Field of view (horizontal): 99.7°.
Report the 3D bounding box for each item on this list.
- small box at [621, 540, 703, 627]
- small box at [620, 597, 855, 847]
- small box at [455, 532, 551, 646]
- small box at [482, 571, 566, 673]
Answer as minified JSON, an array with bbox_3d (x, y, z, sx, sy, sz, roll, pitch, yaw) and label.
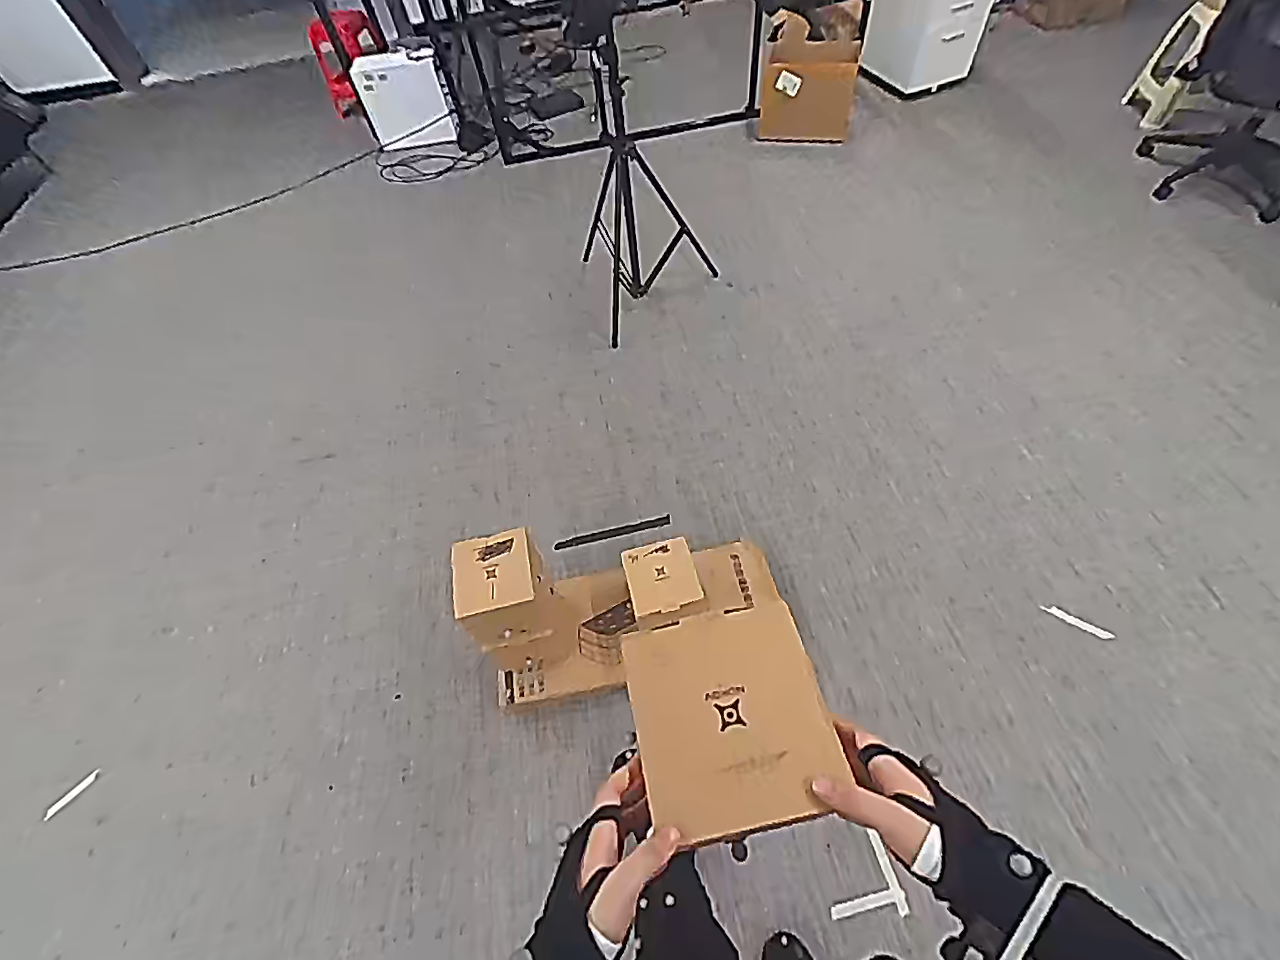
[{"bbox_3d":[0.059,0.278,1.346,0.168,0.176,0.179,-14,56,-2],"label":"small box"},{"bbox_3d":[0.081,0.243,0.537,0.168,0.176,0.179,-13,55,-3],"label":"small box"},{"bbox_3d":[-0.302,0.245,1.204,0.168,0.176,0.179,-13,55,-3],"label":"small box"},{"bbox_3d":[-0.283,0.350,1.329,0.168,0.176,0.179,-12,55,-2],"label":"small box"}]
